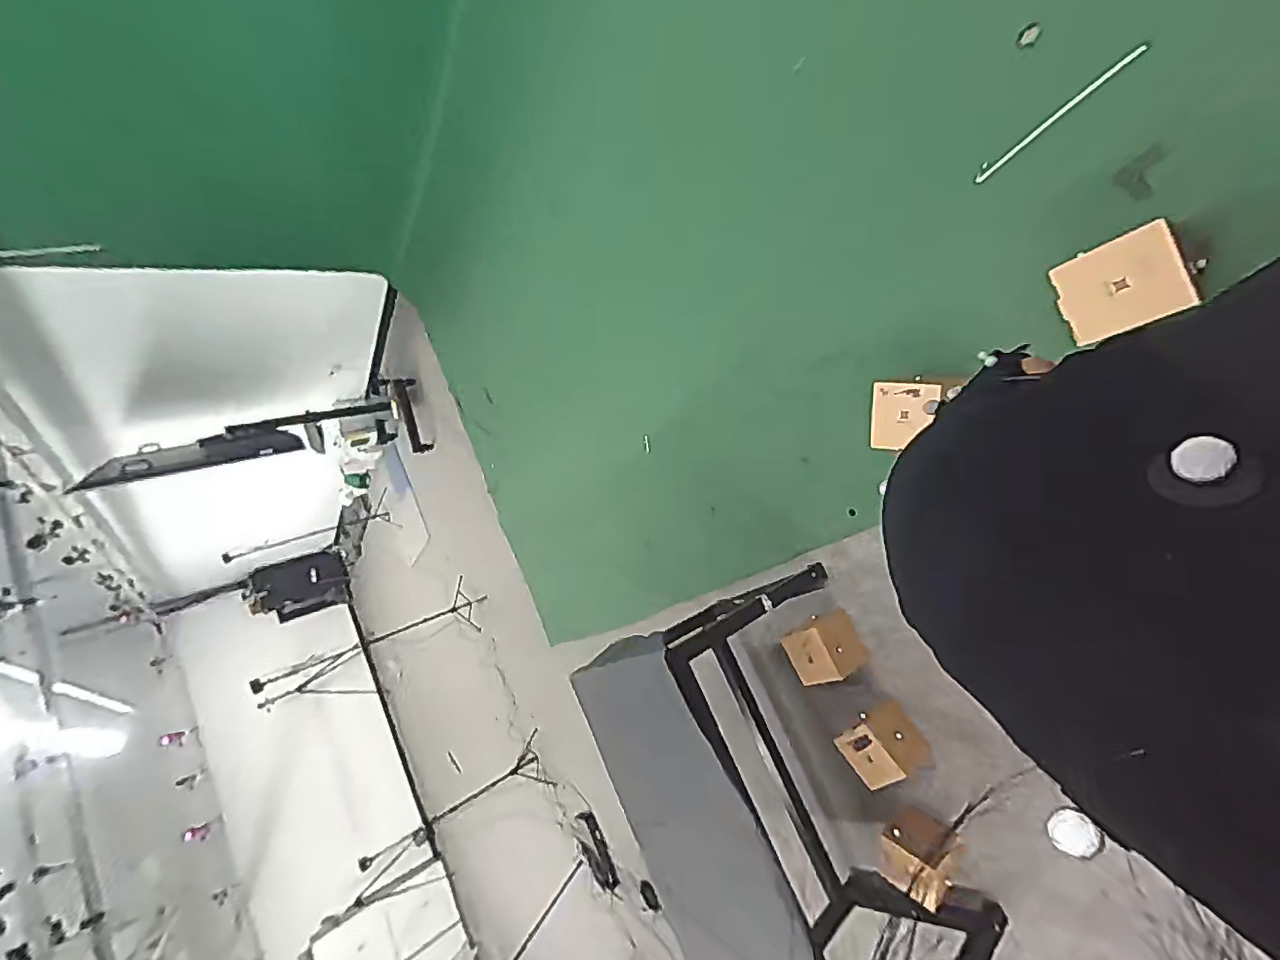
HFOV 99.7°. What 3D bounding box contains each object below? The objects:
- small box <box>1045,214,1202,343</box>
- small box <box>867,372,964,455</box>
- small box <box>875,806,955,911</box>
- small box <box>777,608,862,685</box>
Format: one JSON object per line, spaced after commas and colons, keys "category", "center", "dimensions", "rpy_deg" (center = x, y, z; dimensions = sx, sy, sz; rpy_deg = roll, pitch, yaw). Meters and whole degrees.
{"category": "small box", "center": [0.931, -0.380, 1.041], "dimensions": [0.179, 0.176, 0.168], "rpy_deg": [-24, 86, 50]}
{"category": "small box", "center": [0.706, -0.177, 1.387], "dimensions": [0.168, 0.176, 0.179], "rpy_deg": [15, 115, 47]}
{"category": "small box", "center": [0.864, 1.175, 1.698], "dimensions": [0.179, 0.176, 0.168], "rpy_deg": [13, 114, 48]}
{"category": "small box", "center": [0.595, 0.550, 1.785], "dimensions": [0.168, 0.176, 0.179], "rpy_deg": [-39, 73, 48]}
